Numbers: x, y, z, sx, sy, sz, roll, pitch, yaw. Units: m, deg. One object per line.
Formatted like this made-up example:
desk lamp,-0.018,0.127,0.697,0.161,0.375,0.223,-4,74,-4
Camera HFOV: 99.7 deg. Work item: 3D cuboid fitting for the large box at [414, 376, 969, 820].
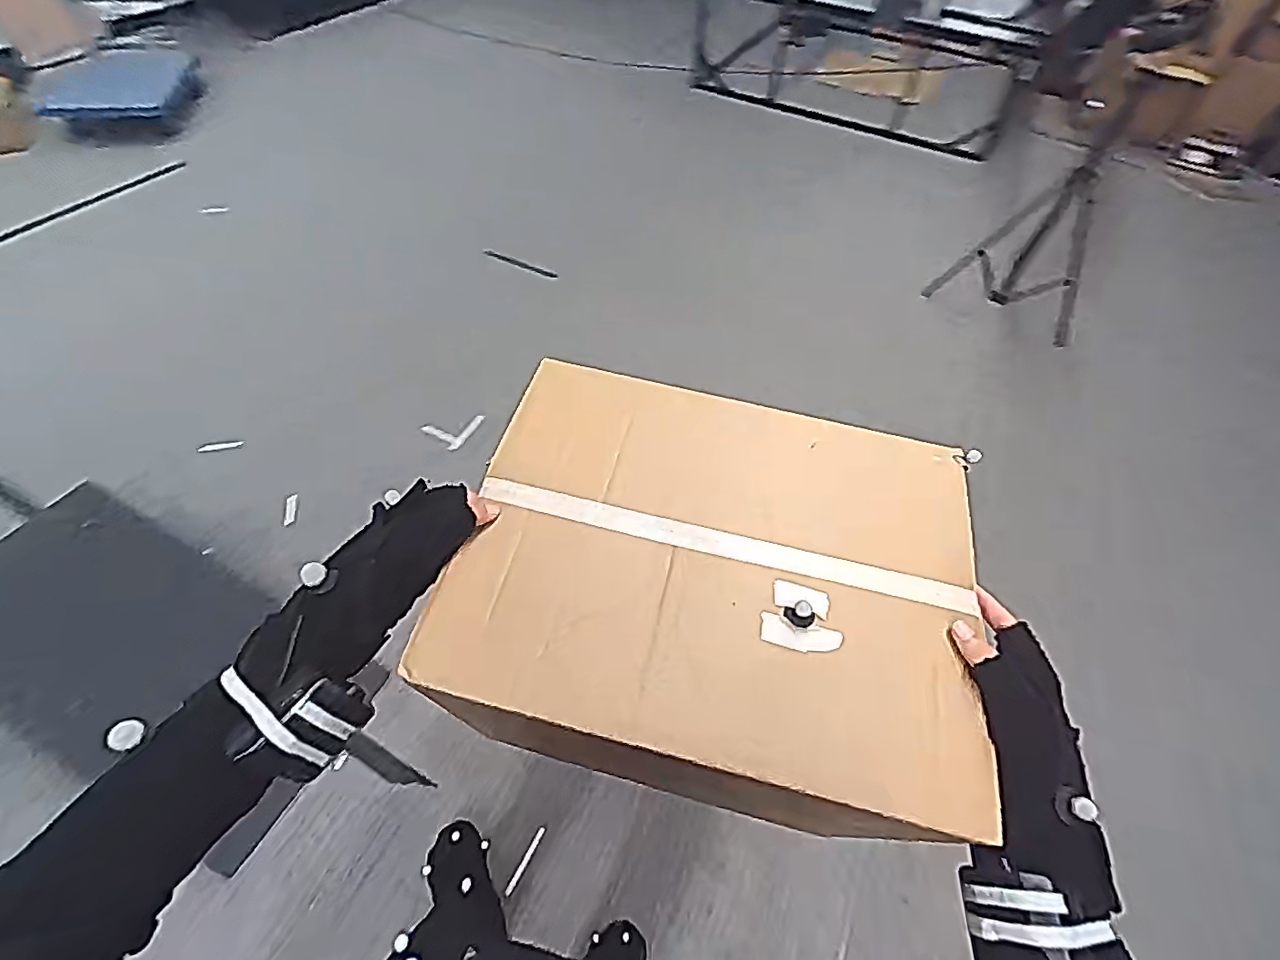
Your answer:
large box,0.049,0.137,0.578,0.408,0.320,0.320,13,58,4

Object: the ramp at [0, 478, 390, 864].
ramp,-1.183,0.413,1.335,0.991,0.206,0.509,24,55,12
